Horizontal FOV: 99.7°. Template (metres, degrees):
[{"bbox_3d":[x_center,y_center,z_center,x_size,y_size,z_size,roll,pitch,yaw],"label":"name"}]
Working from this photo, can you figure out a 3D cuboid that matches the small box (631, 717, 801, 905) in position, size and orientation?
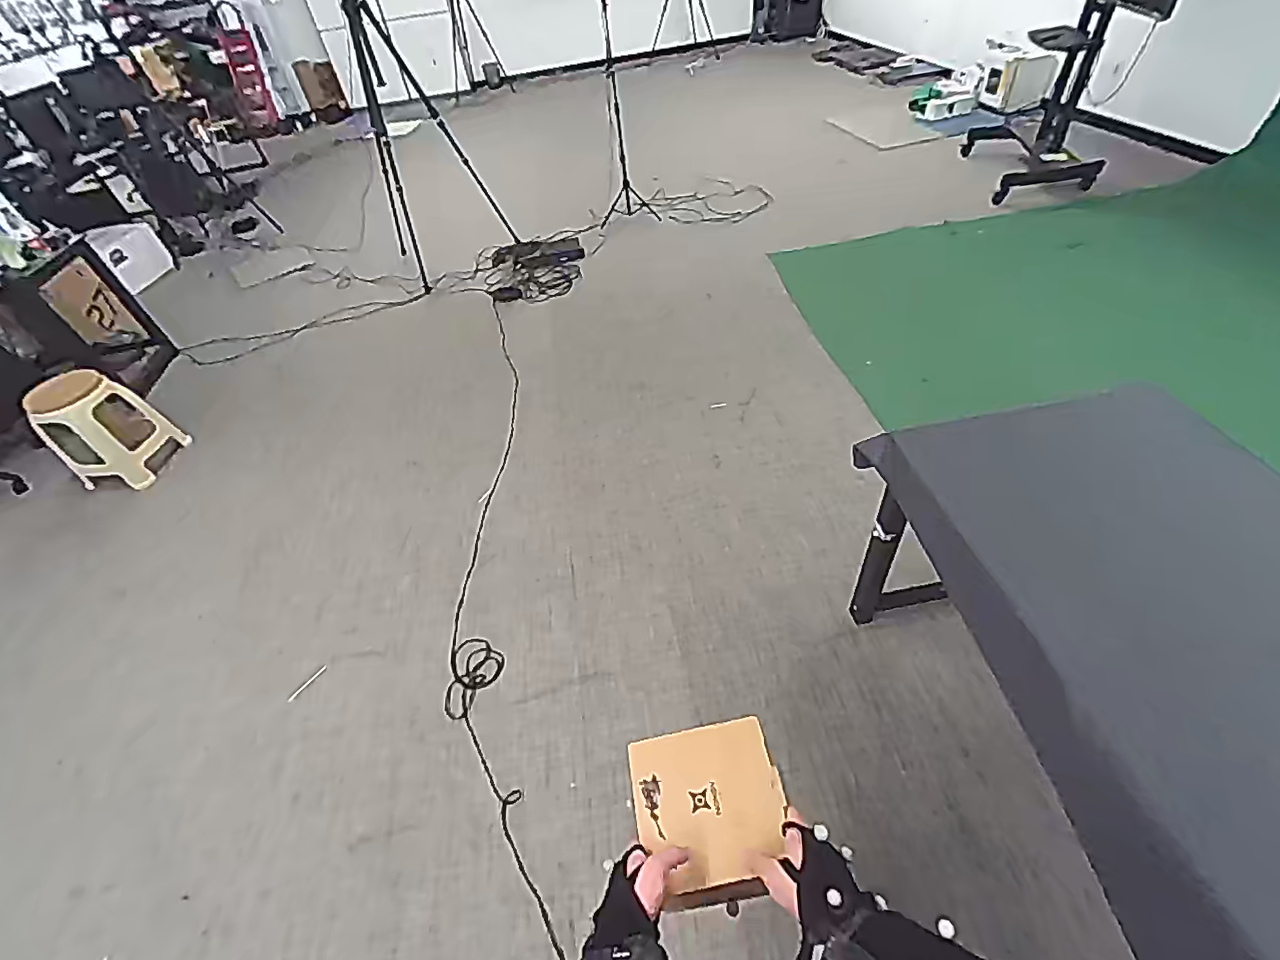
[{"bbox_3d":[0.093,0.431,0.702,0.179,0.176,0.168,-12,47,1],"label":"small box"}]
